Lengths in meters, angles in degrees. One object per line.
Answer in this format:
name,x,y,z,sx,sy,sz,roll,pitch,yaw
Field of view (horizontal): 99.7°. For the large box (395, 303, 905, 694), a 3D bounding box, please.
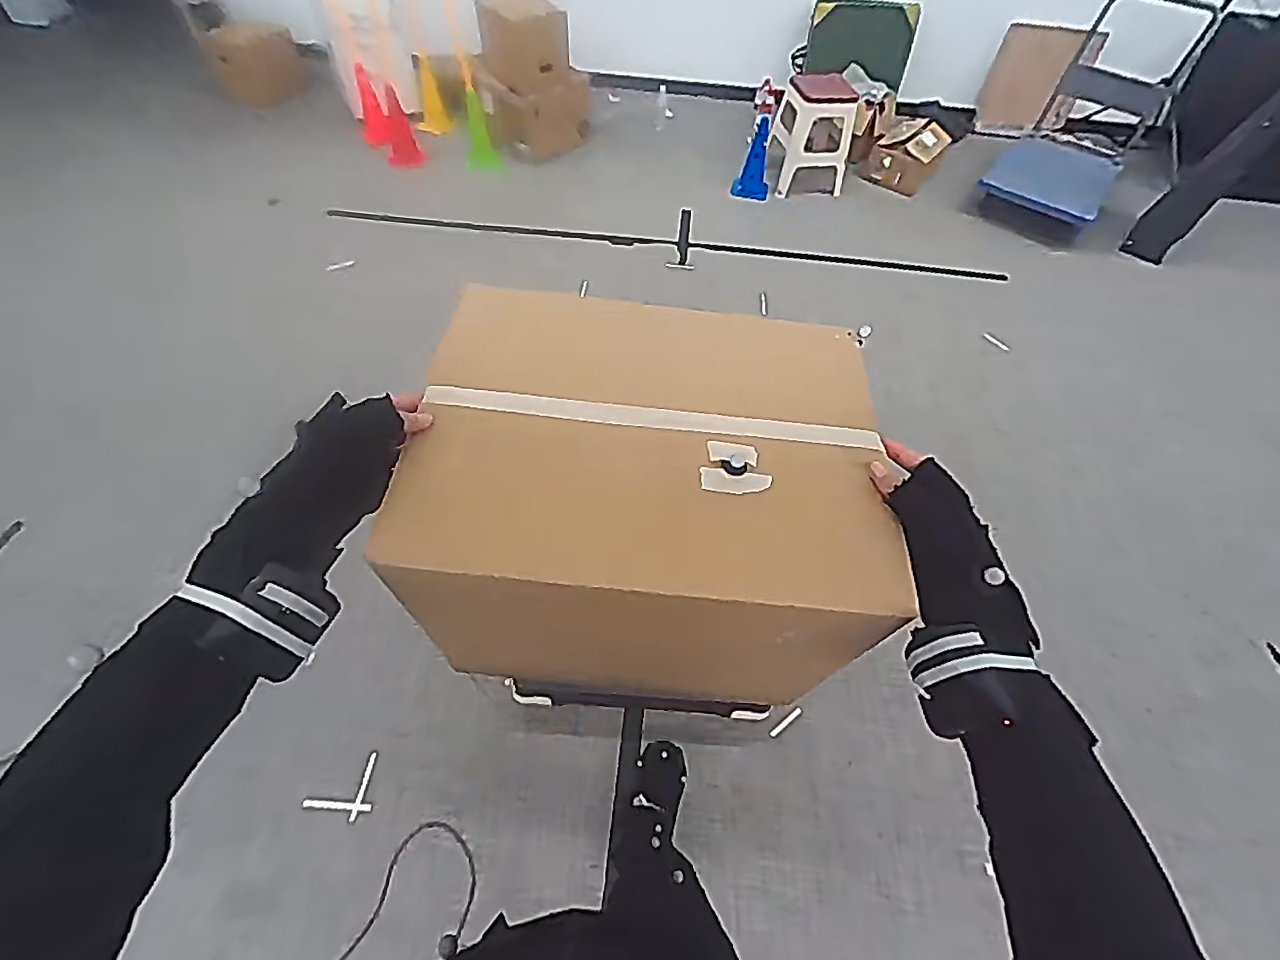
large box,0.005,0.038,0.616,0.408,0.320,0.320,6,56,-2
